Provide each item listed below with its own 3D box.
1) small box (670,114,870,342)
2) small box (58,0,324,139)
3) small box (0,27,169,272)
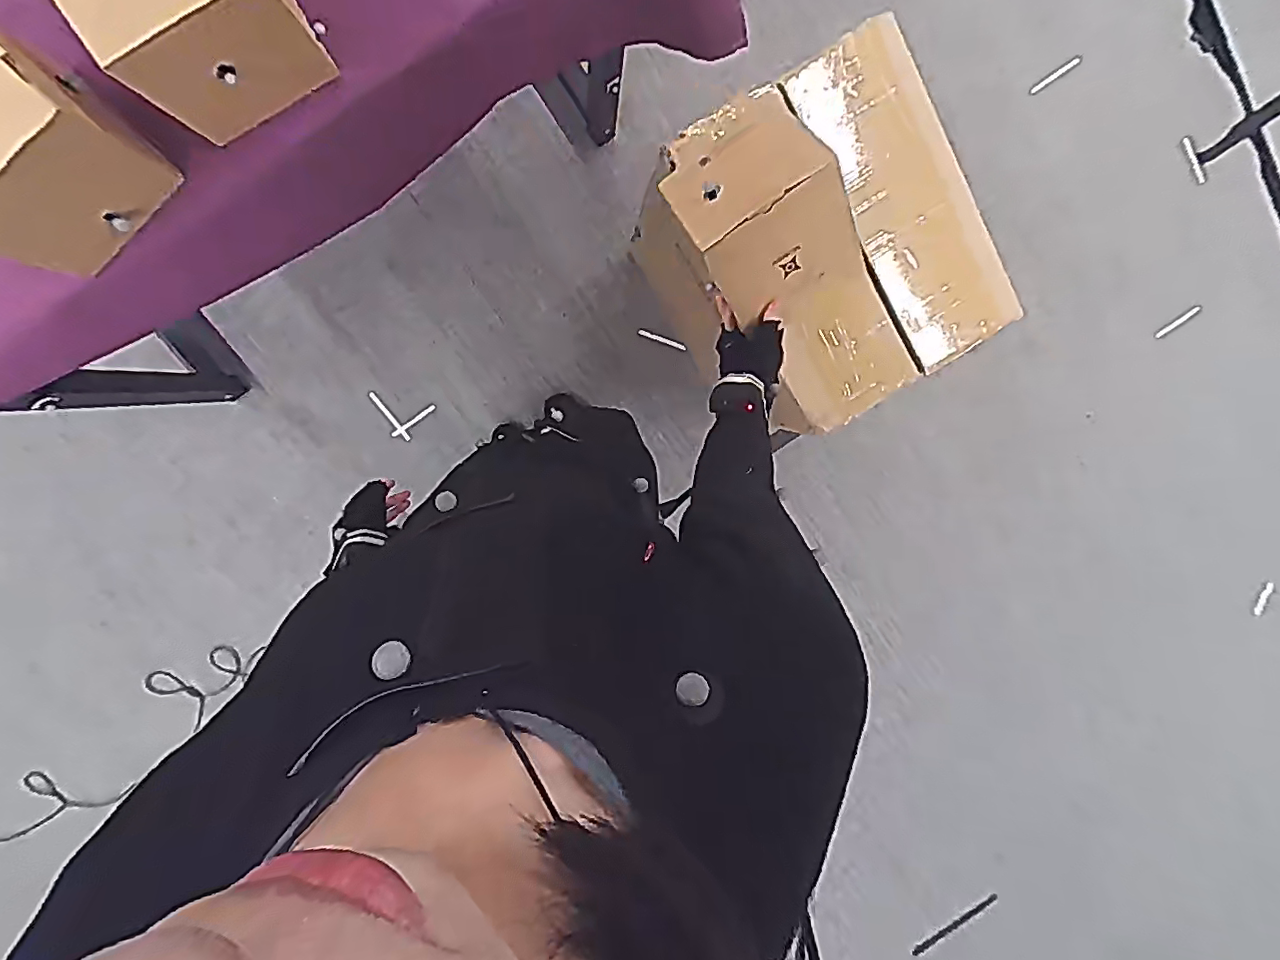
[{"bbox_3d":[0.158,-0.319,0.680,0.168,0.176,0.179,-30,143,17],"label":"small box"},{"bbox_3d":[-0.470,-0.507,0.565,0.179,0.176,0.168,-31,100,0],"label":"small box"},{"bbox_3d":[-0.661,-0.354,0.569,0.179,0.176,0.168,-45,100,1],"label":"small box"}]
